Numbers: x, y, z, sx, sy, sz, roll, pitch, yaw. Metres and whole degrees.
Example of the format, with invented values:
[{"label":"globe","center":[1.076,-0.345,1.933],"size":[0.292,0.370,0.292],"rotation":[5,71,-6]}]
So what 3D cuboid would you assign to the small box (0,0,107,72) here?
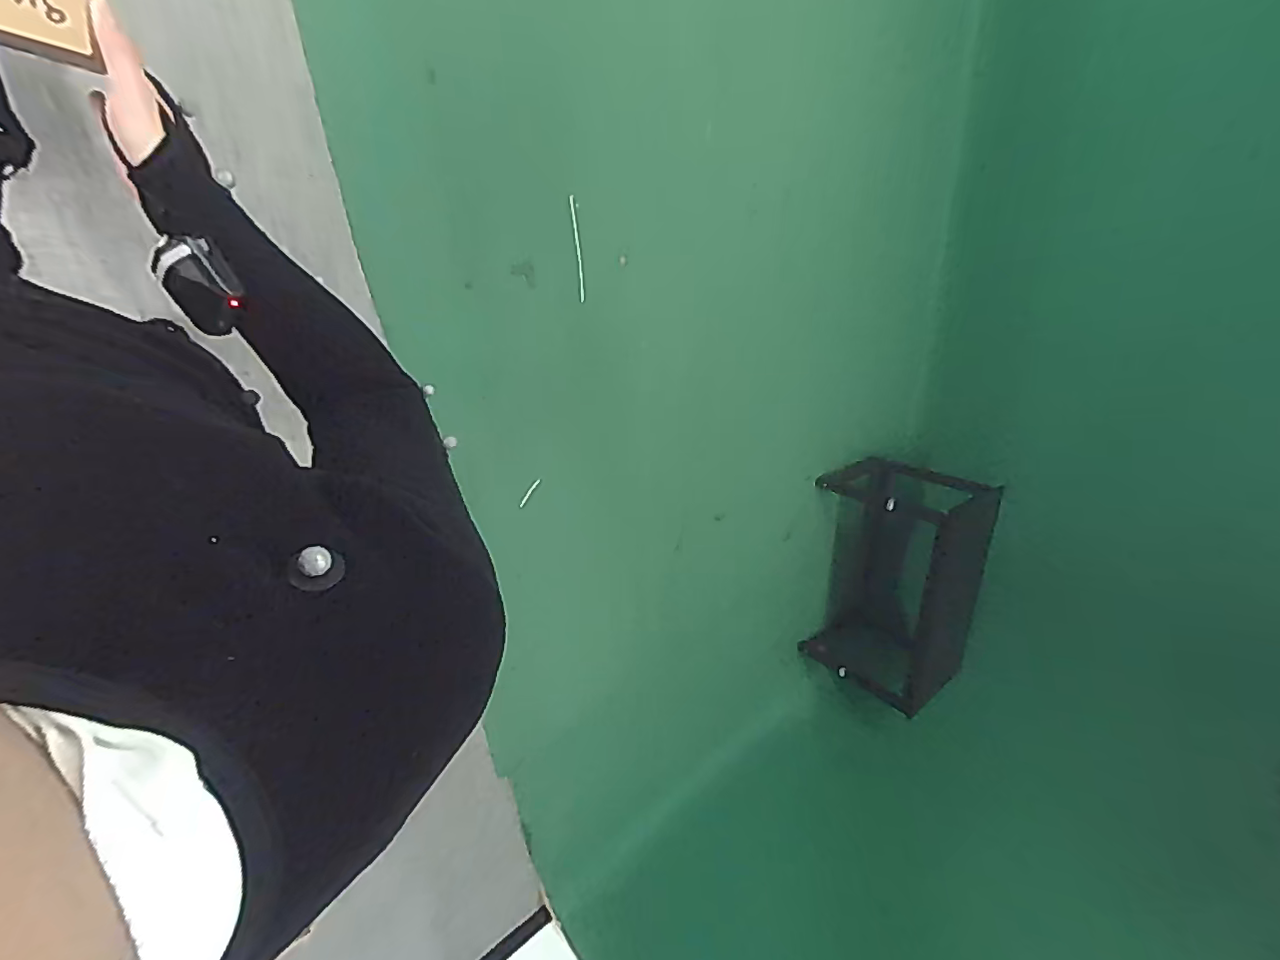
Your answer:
[{"label":"small box","center":[-0.500,-0.422,0.378],"size":[0.168,0.176,0.179],"rotation":[-6,119,-40]}]
